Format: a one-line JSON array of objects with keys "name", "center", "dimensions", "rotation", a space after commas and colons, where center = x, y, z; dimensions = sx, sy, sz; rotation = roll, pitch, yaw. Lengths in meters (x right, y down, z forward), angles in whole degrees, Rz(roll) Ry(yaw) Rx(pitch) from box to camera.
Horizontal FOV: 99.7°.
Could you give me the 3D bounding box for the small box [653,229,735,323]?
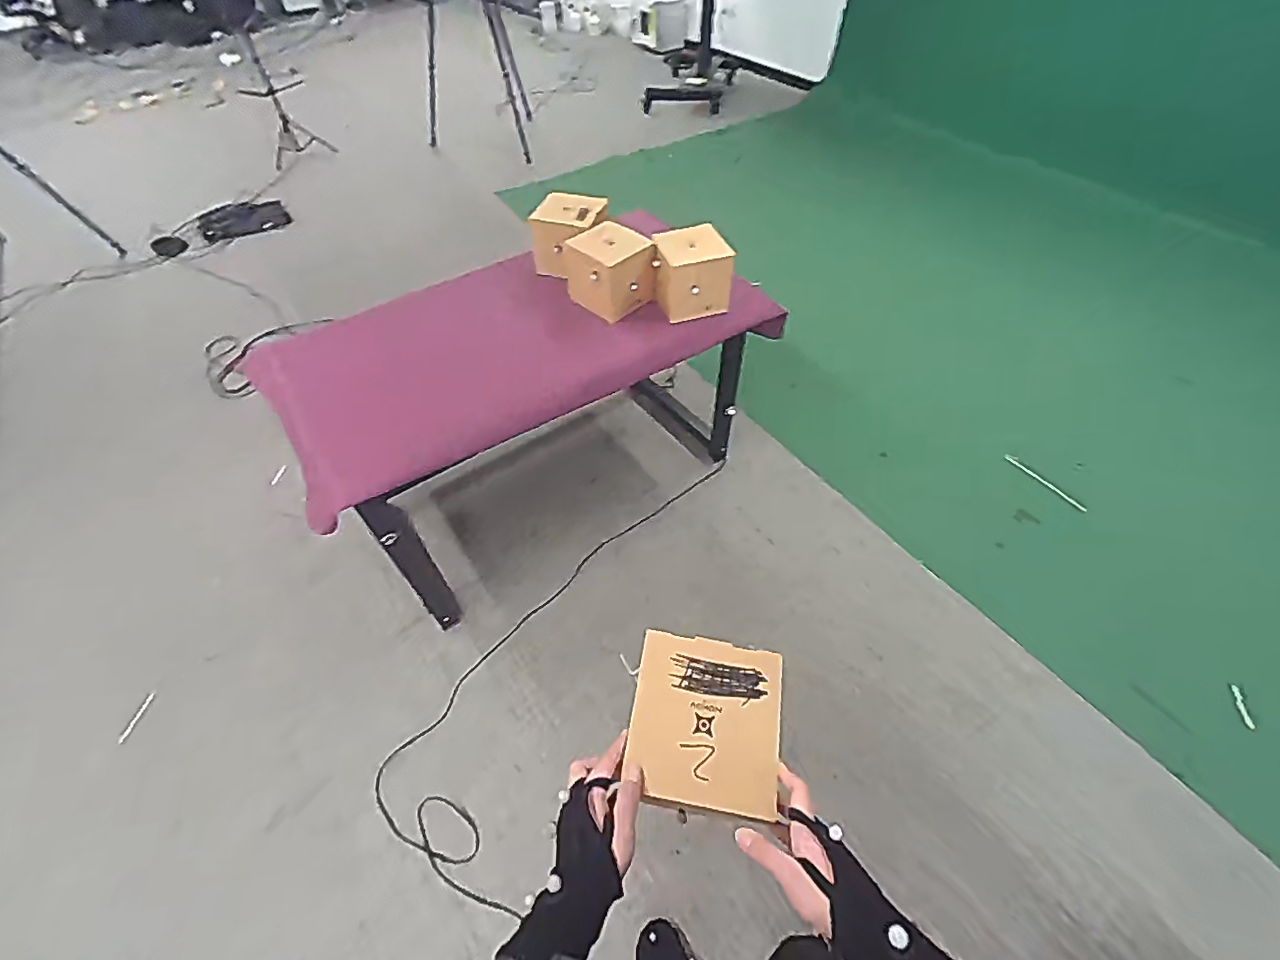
[{"name": "small box", "center": [0.138, -0.534, 1.434], "dimensions": [0.168, 0.176, 0.179], "rotation": [-14, 51, -9]}]
